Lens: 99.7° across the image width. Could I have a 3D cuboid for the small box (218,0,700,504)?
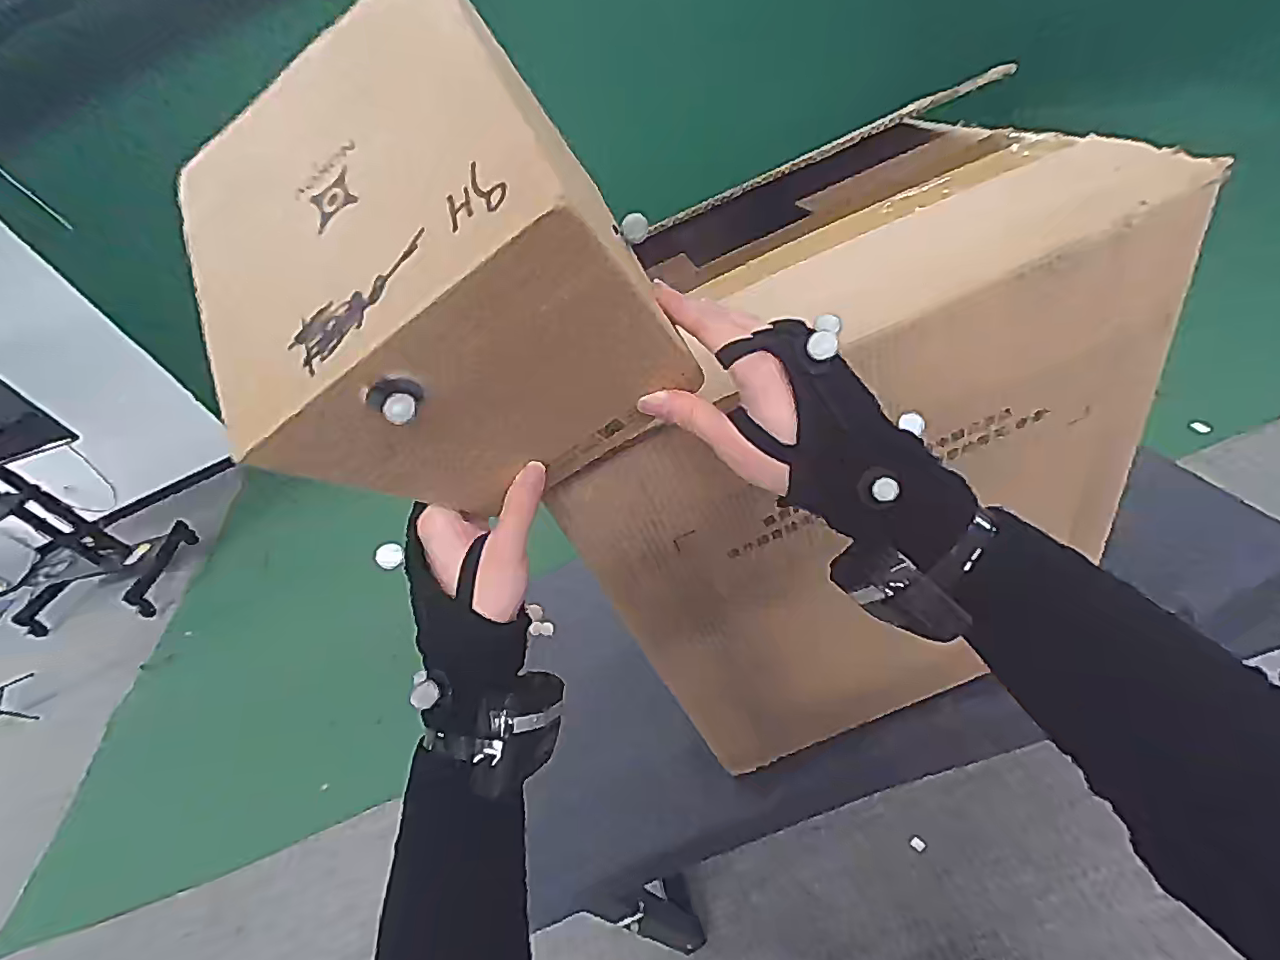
[{"bbox_3d":[-0.091,-0.108,0.305,0.168,0.176,0.179,-32,66,15],"label":"small box"}]
